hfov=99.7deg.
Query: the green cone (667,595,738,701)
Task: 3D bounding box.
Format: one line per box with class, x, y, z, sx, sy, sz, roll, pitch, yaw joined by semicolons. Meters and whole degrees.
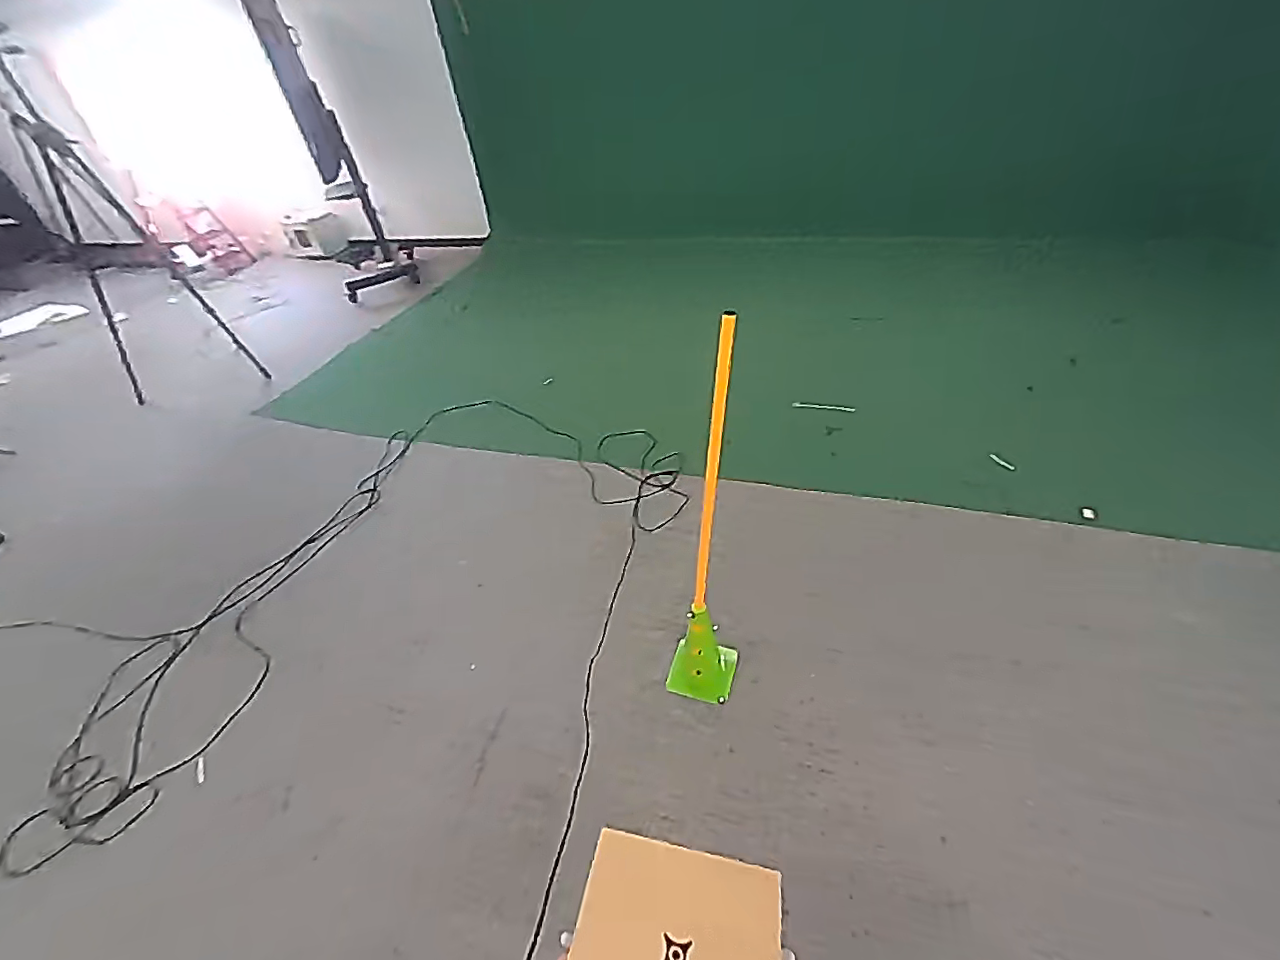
green cone;0.184;0.472;1.633;0.202;0.368;0.200;7;42;19
